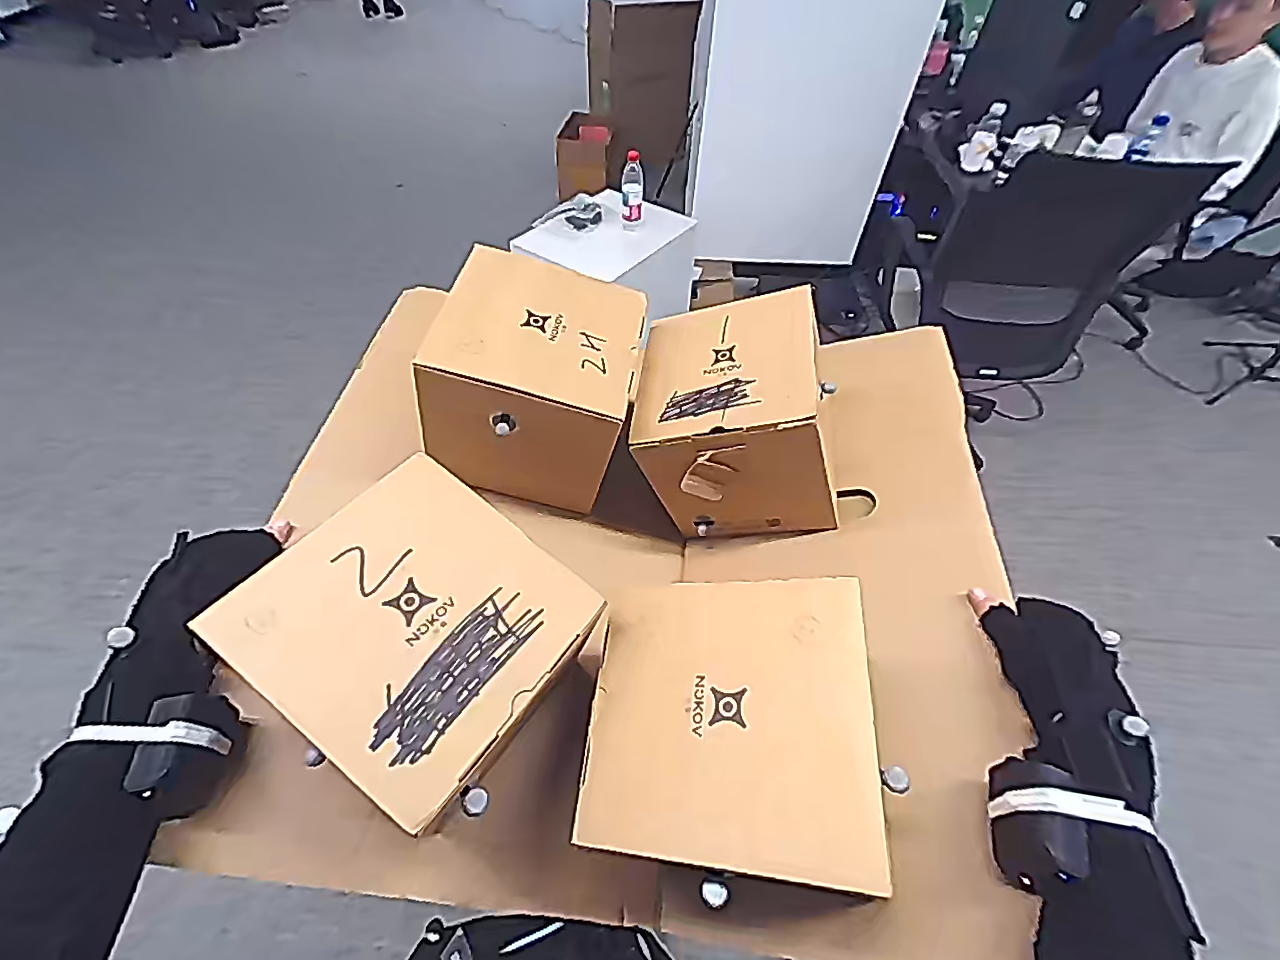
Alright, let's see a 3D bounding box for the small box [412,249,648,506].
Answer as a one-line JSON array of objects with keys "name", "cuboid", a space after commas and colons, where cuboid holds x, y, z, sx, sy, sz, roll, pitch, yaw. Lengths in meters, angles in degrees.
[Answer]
[{"name": "small box", "cuboid": [-0.106, -0.093, 0.549, 0.179, 0.176, 0.168, 15, 56, -7]}]
